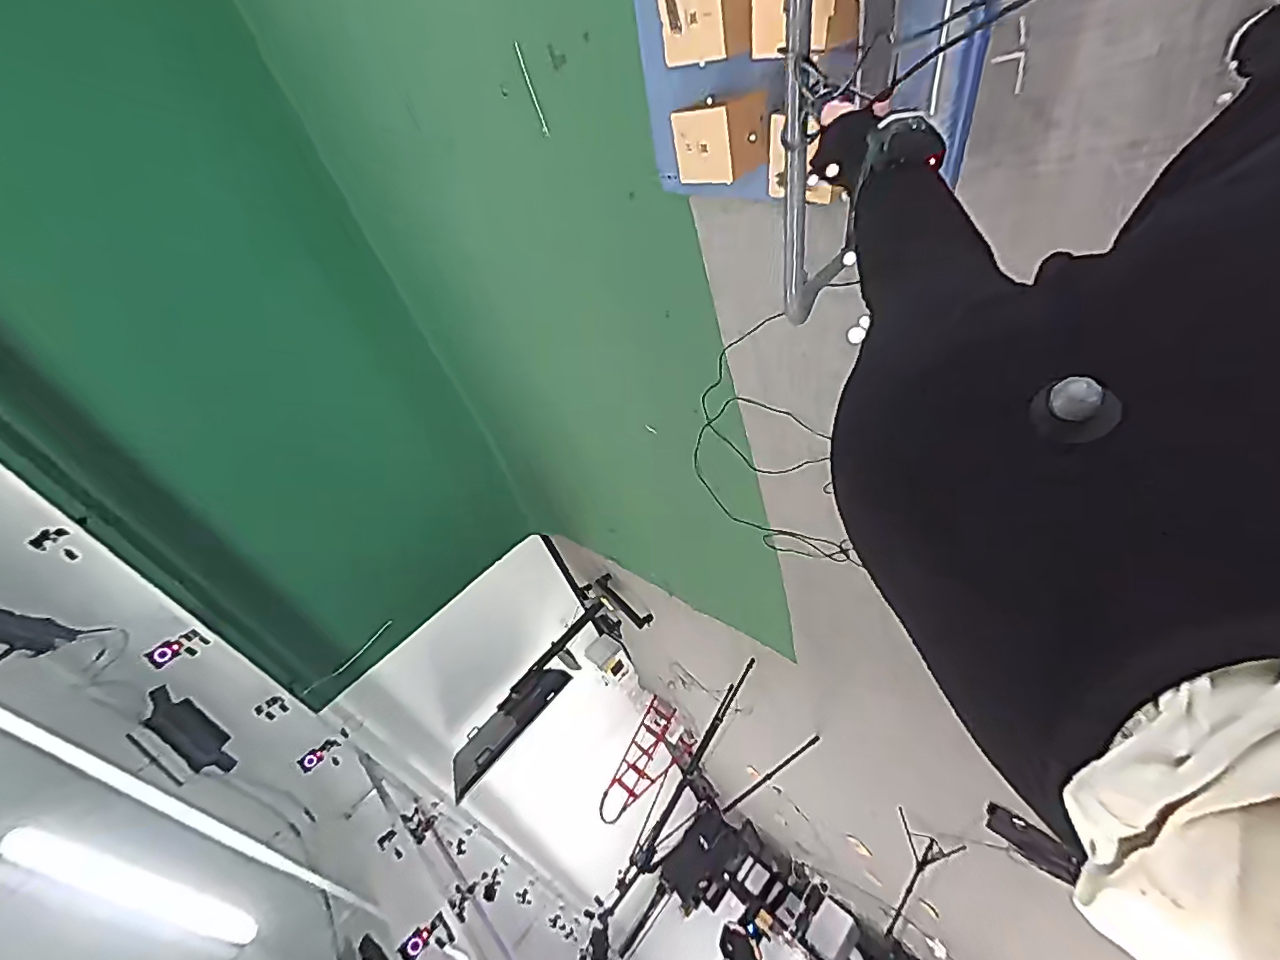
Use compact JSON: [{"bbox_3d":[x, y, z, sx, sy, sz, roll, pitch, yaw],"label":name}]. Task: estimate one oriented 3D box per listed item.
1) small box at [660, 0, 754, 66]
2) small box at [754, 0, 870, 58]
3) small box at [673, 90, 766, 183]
[{"bbox_3d":[0.169,-1.075,1.236,0.179,0.176,0.168,25,146,37],"label":"small box"},{"bbox_3d":[0.350,-0.982,1.100,0.179,0.176,0.168,27,147,33],"label":"small box"},{"bbox_3d":[0.216,-0.894,1.411,0.179,0.176,0.168,25,145,38],"label":"small box"}]
